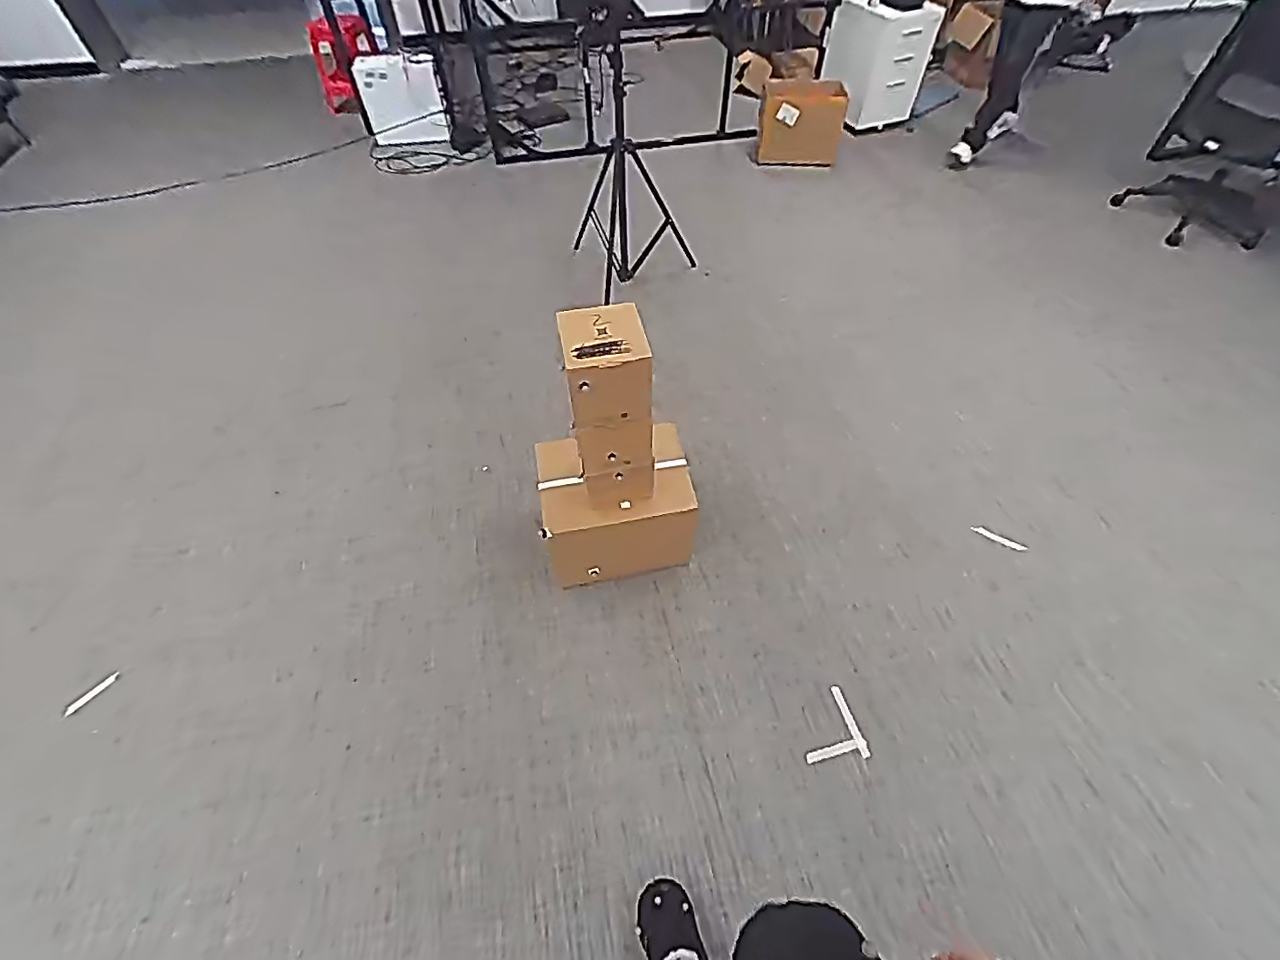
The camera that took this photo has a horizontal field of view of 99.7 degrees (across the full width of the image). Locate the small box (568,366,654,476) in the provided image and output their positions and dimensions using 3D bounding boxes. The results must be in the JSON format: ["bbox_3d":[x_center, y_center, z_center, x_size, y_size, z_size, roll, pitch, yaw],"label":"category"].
[{"bbox_3d":[-0.068,-0.135,1.255,0.168,0.176,0.179,-11,56,-7],"label":"small box"}]

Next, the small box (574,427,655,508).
[{"bbox_3d":[-0.064,-0.047,1.391,0.179,0.176,0.168,-11,55,-9],"label":"small box"}]
